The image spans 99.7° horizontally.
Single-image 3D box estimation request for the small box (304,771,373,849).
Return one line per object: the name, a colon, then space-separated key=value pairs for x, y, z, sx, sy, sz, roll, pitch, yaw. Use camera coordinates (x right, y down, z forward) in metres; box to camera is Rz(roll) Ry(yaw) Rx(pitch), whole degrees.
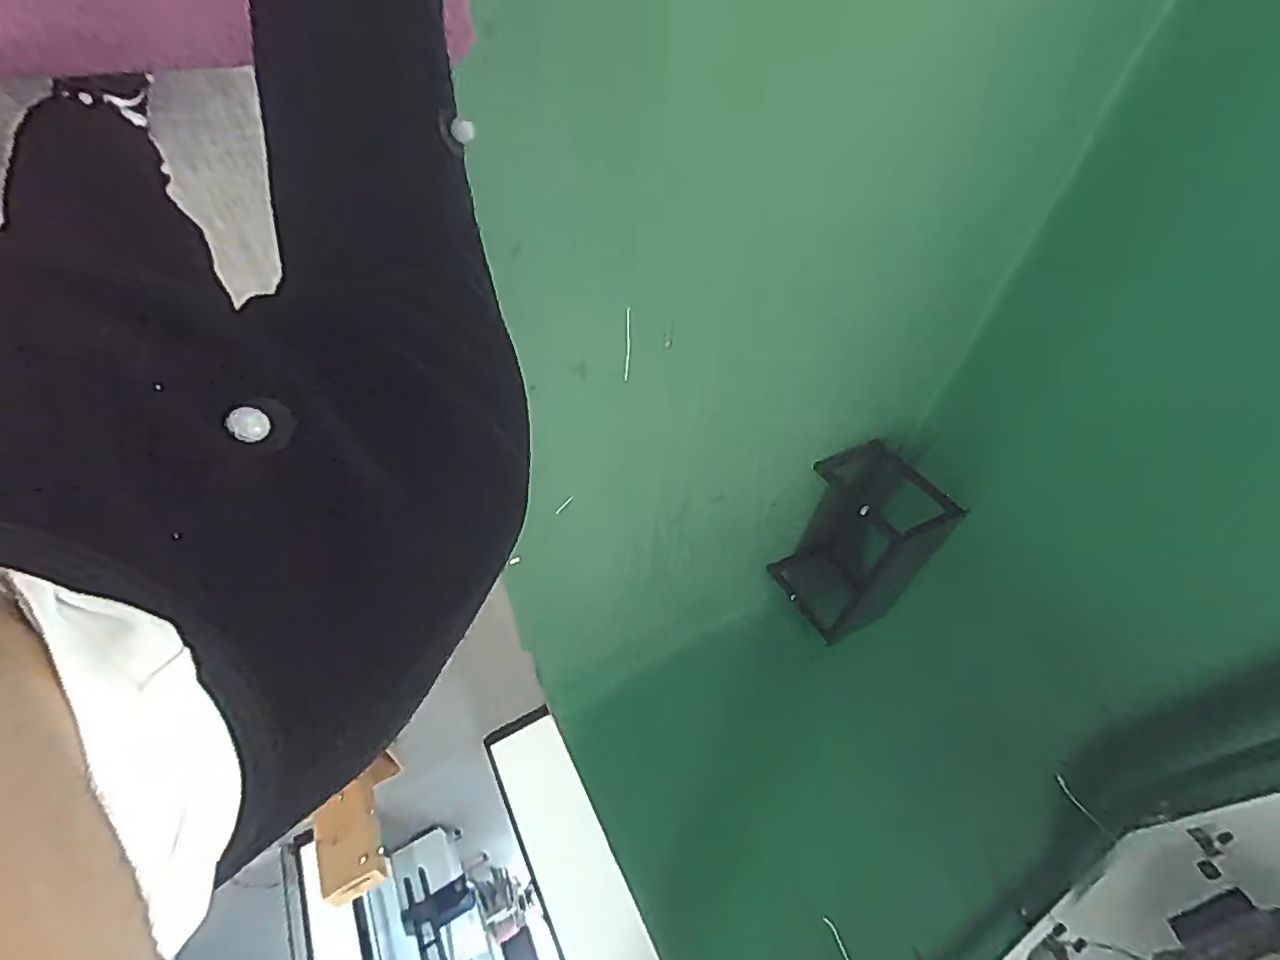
small box: x=-1.084 y=1.183 z=1.945 sx=0.168 sy=0.176 sz=0.179 roll=-19 pitch=140 yaw=-22
